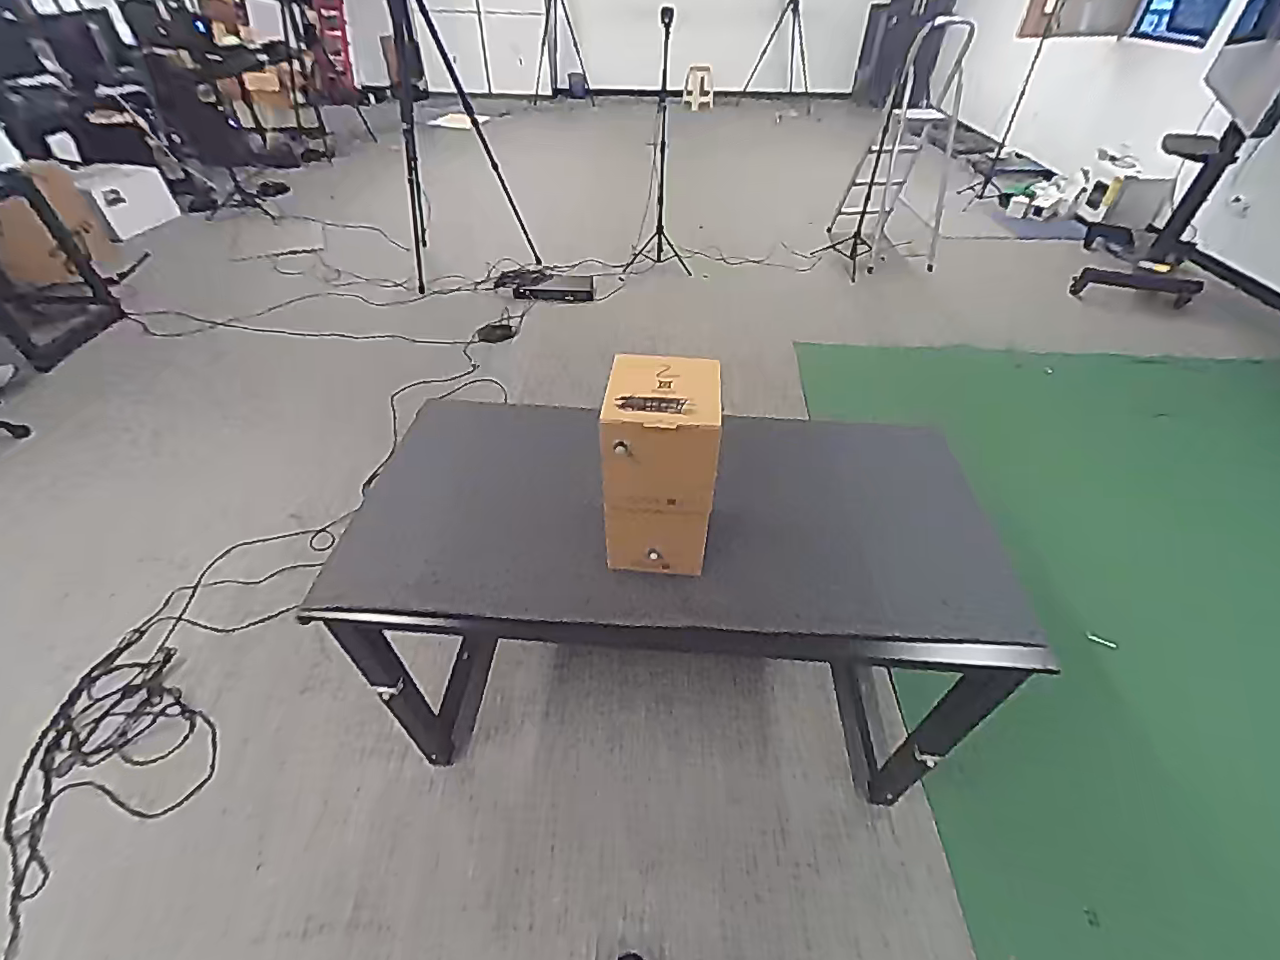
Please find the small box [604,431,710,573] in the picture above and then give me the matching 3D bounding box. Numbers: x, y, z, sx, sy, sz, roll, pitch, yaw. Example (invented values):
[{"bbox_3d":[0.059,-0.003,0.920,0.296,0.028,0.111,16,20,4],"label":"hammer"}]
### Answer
[{"bbox_3d":[0.031,0.037,0.946,0.168,0.176,0.179,4,43,4],"label":"small box"}]
